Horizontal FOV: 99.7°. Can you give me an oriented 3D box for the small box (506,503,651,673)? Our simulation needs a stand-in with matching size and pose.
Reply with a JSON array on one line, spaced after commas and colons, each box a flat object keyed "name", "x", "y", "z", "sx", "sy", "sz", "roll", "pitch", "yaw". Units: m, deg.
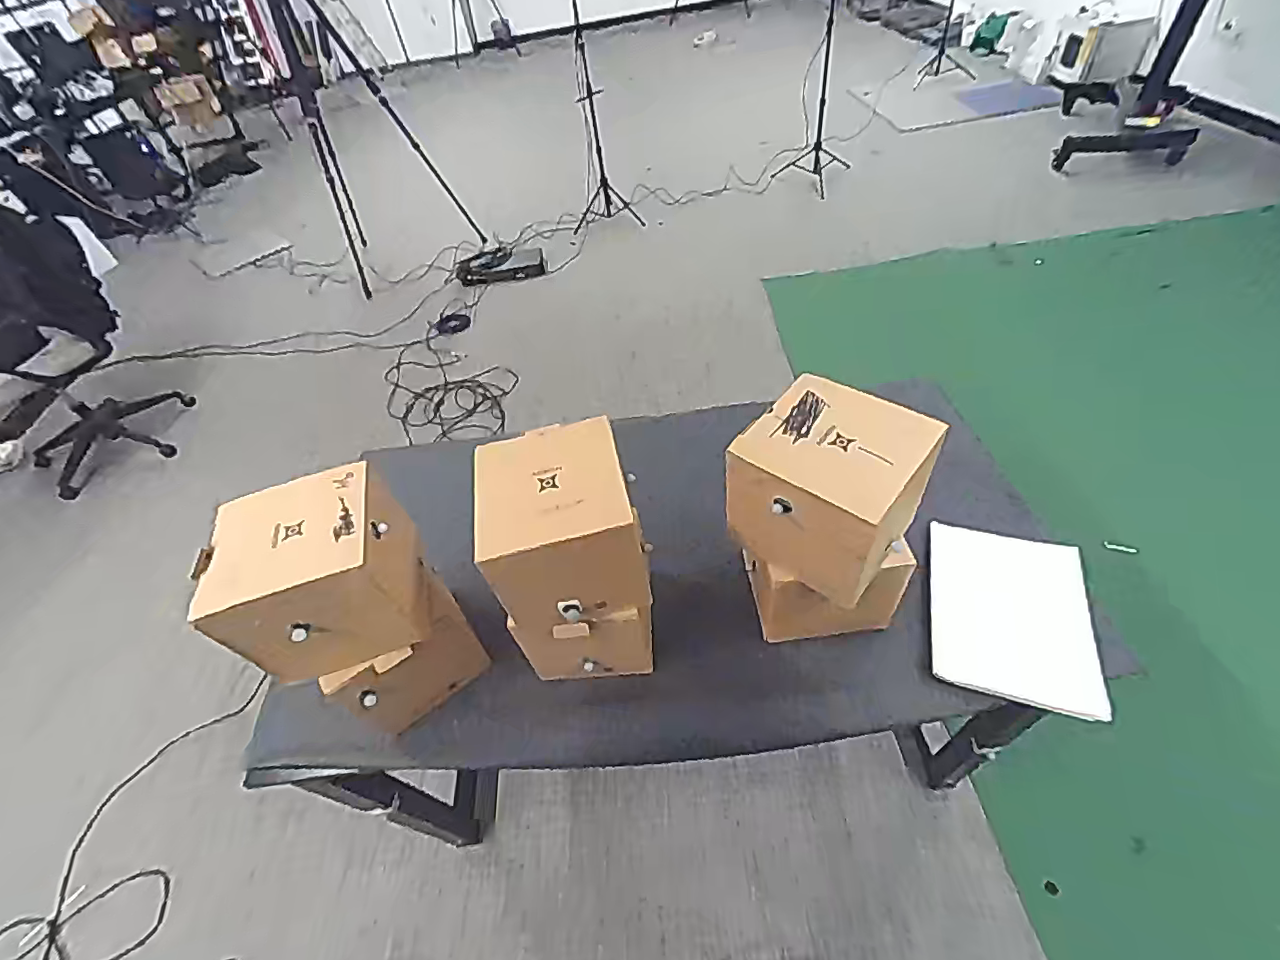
[{"name": "small box", "x": -0.077, "y": 0.158, "z": 0.778, "sx": 0.168, "sy": 0.176, "sz": 0.179, "roll": -6, "pitch": 48, "yaw": 6}]

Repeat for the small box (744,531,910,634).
[{"name": "small box", "x": 0.249, "y": 0.101, "z": 0.771, "sx": 0.179, "sy": 0.176, "sz": 0.168, "roll": -9, "pitch": 48, "yaw": 3}]

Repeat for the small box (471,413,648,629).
[{"name": "small box", "x": -0.095, "y": 0.051, "z": 0.657, "sx": 0.168, "sy": 0.176, "sz": 0.179, "roll": -15, "pitch": 48, "yaw": -2}]

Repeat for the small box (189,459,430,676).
[{"name": "small box", "x": -0.378, "y": 0.110, "z": 0.654, "sx": 0.179, "sy": 0.176, "sz": 0.168, "roll": -20, "pitch": 49, "yaw": -6}]

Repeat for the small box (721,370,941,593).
[{"name": "small box", "x": 0.215, "y": 0.003, "z": 0.643, "sx": 0.179, "sy": 0.176, "sz": 0.168, "roll": 31, "pitch": 61, "yaw": 31}]
